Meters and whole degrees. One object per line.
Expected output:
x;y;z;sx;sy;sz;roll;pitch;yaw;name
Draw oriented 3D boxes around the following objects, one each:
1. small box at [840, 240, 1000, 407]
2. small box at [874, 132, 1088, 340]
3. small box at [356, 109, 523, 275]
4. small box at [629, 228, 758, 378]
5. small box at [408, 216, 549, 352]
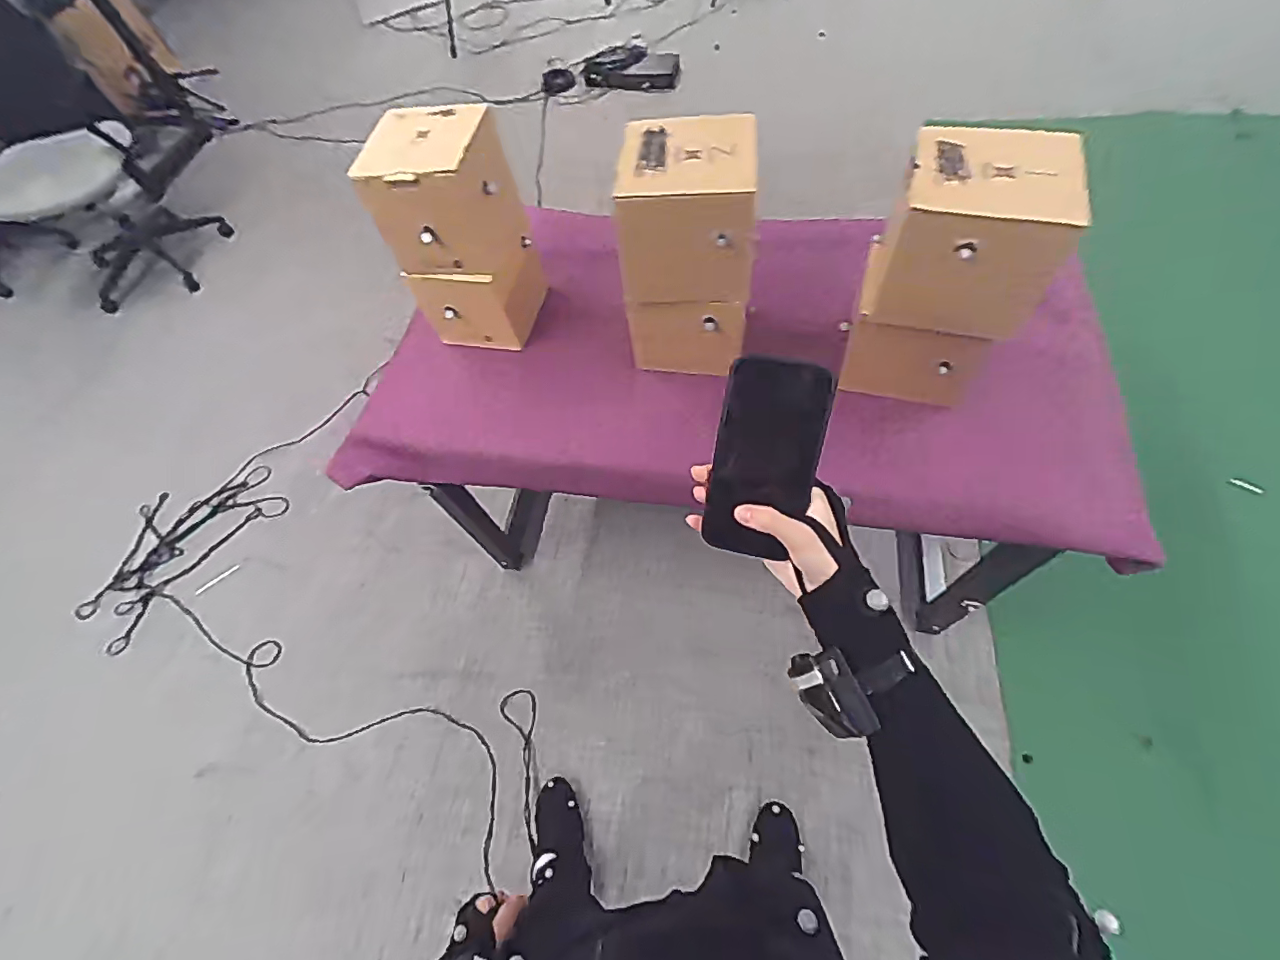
0.421;-0.232;0.823;0.179;0.176;0.168;13;63;15;small box
0.407;-0.298;0.673;0.179;0.176;0.168;13;63;14;small box
-0.299;-0.443;0.850;0.168;0.176;0.179;4;62;9;small box
0.093;-0.288;0.897;0.179;0.176;0.168;7;62;12;small box
-0.281;-0.356;0.988;0.168;0.176;0.179;8;62;12;small box
